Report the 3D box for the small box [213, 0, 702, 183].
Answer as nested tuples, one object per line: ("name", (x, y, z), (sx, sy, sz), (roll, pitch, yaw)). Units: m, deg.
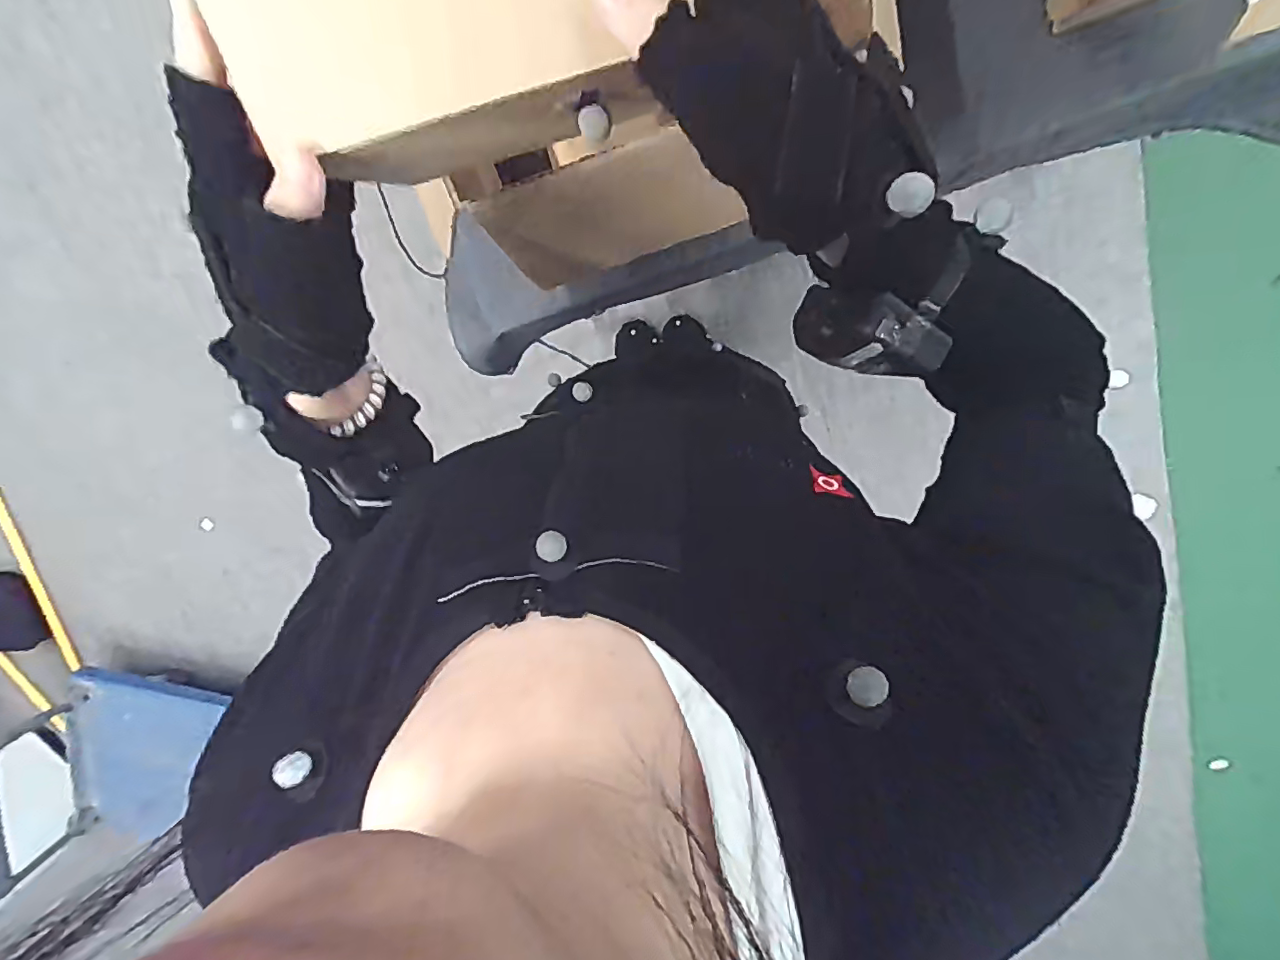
("small box", (-0.084, -0.252, 0.252), (0.179, 0.176, 0.168), (-15, 116, 3))
